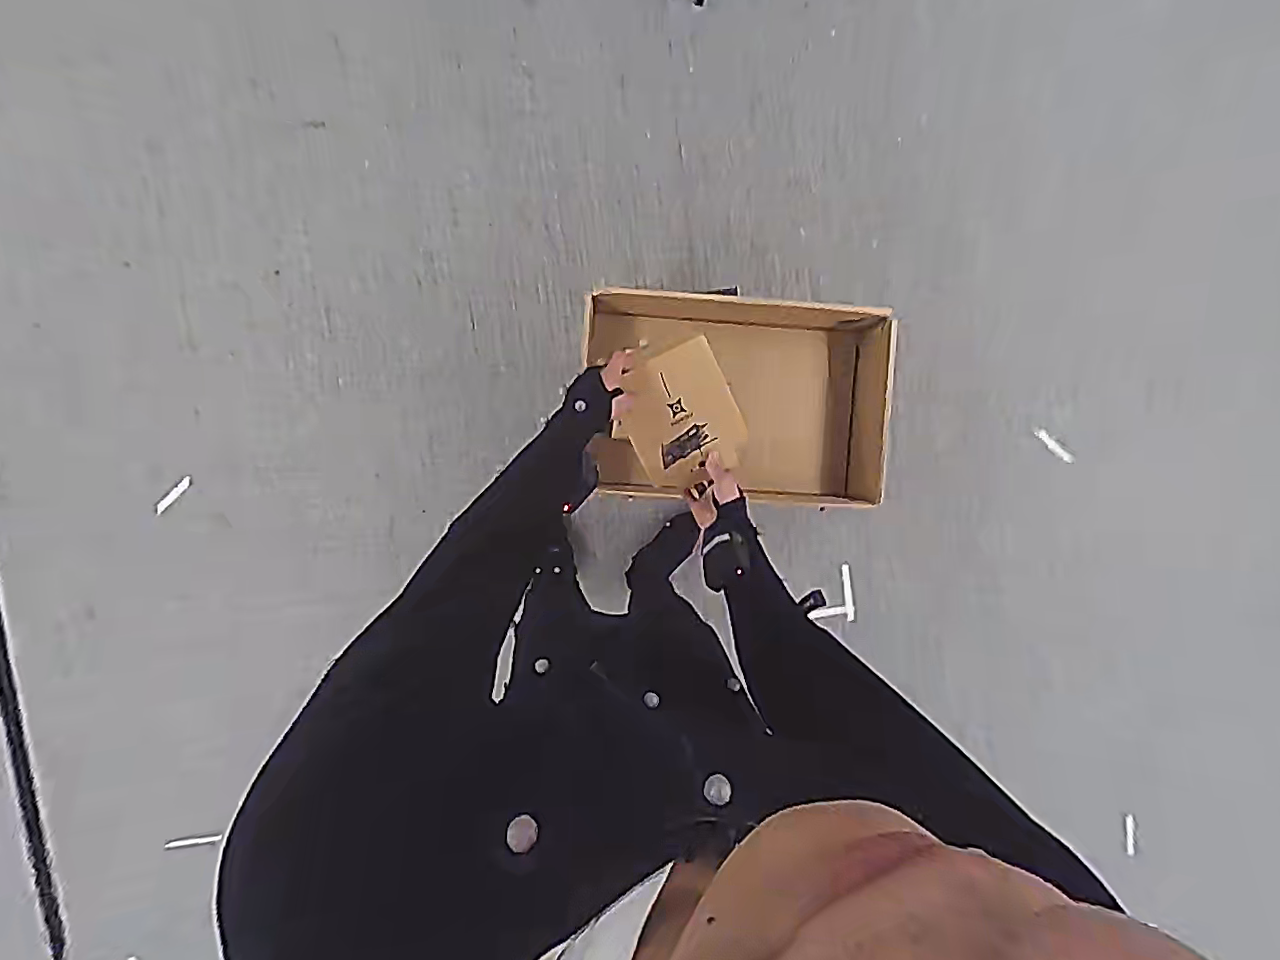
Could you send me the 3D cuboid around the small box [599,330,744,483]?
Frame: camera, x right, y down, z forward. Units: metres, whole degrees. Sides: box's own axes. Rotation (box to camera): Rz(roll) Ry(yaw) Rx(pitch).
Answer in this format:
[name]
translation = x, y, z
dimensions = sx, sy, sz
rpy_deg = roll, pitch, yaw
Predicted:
[small box]
translation = 0.044, -0.127, 0.878
dimensions = 0.168, 0.176, 0.179
rpy_deg = -28, 109, 3
